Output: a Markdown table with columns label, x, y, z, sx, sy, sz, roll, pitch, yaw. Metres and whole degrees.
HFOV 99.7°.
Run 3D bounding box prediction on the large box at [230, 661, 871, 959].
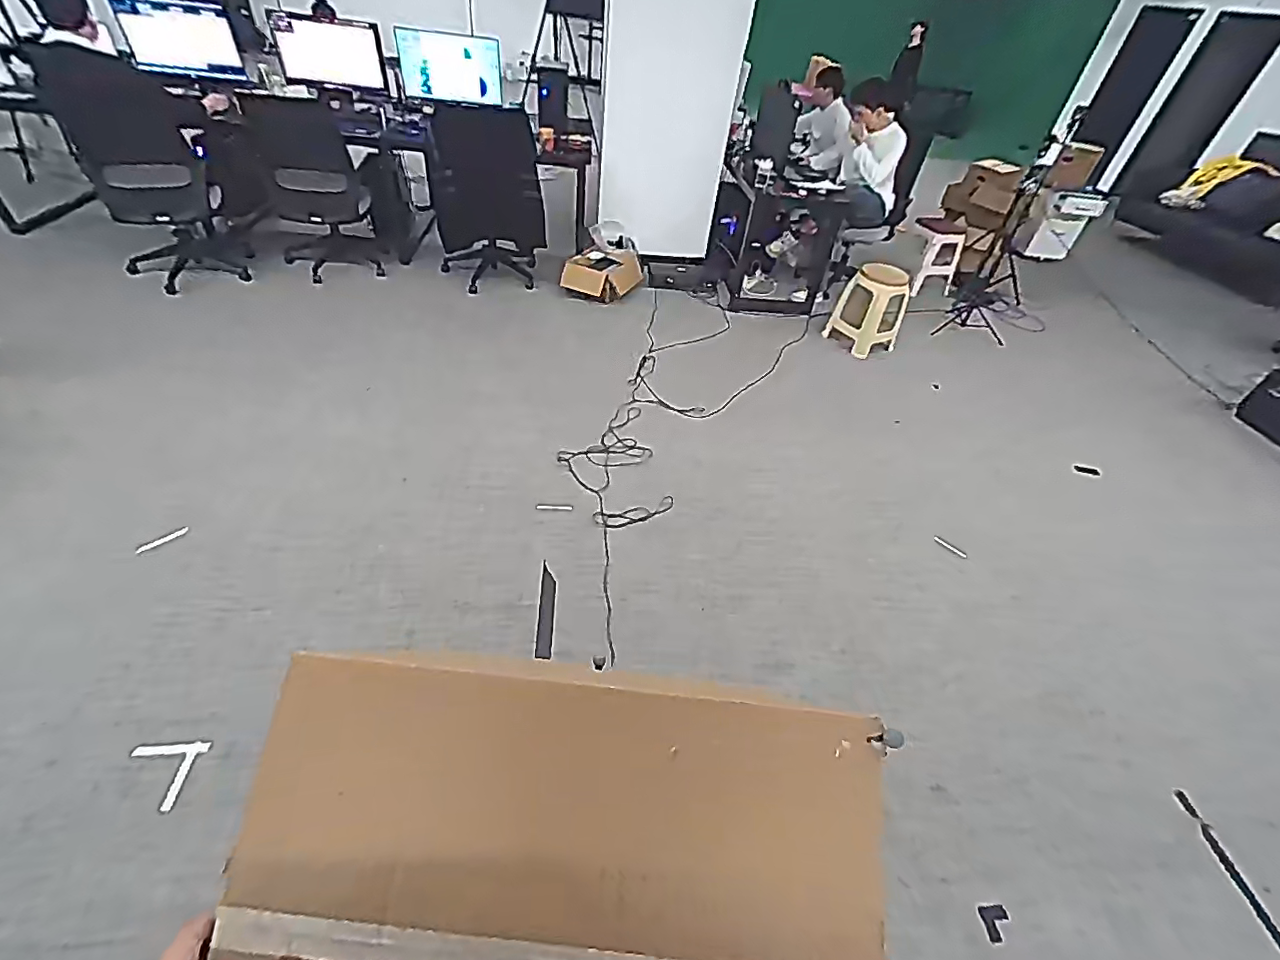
| label | x | y | z | sx | sy | sz | roll | pitch | yaw |
| --- | --- | --- | --- | --- | --- | --- | --- | --- | --- |
| large box | -0.059 | 0.339 | 0.480 | 0.408 | 0.320 | 0.320 | 6 | 74 | 0 |
